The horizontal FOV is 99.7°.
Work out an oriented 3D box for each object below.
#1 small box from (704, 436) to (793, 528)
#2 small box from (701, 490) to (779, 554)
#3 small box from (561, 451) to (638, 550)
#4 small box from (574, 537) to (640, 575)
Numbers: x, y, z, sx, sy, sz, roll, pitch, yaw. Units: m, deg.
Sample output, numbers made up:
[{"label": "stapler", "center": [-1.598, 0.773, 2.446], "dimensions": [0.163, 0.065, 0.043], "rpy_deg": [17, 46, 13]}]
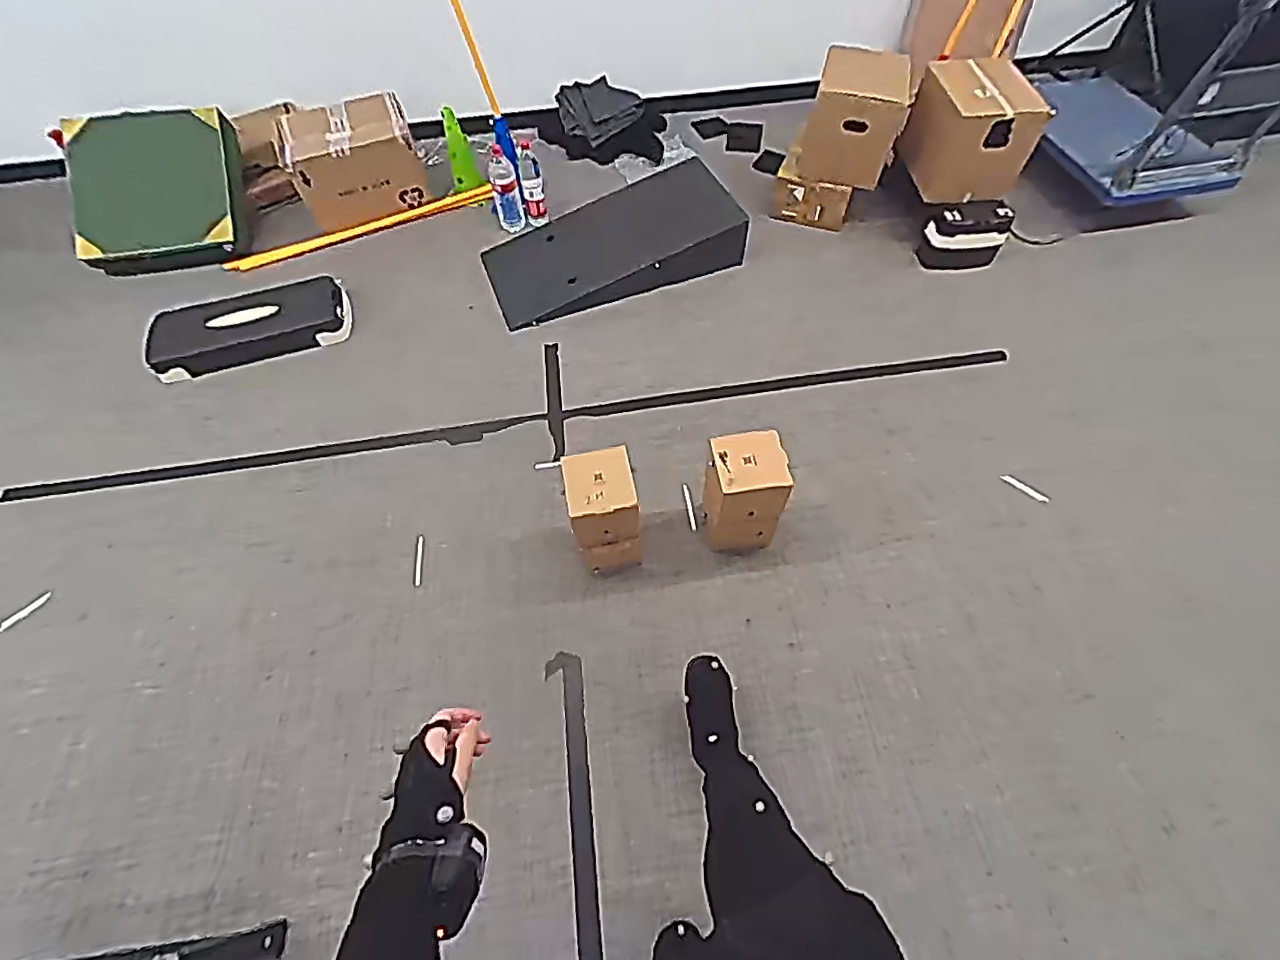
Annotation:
[{"label": "small box", "center": [0.269, 0.008, 1.380], "dimensions": [0.179, 0.176, 0.168], "rpy_deg": [-6, 57, -3]}, {"label": "small box", "center": [0.274, 0.097, 1.518], "dimensions": [0.179, 0.176, 0.168], "rpy_deg": [-6, 58, -1]}, {"label": "small box", "center": [-0.101, 0.054, 1.357], "dimensions": [0.168, 0.176, 0.179], "rpy_deg": [-10, 59, -5]}, {"label": "small box", "center": [-0.097, 0.148, 1.492], "dimensions": [0.168, 0.176, 0.179], "rpy_deg": [-12, 58, -6]}]
